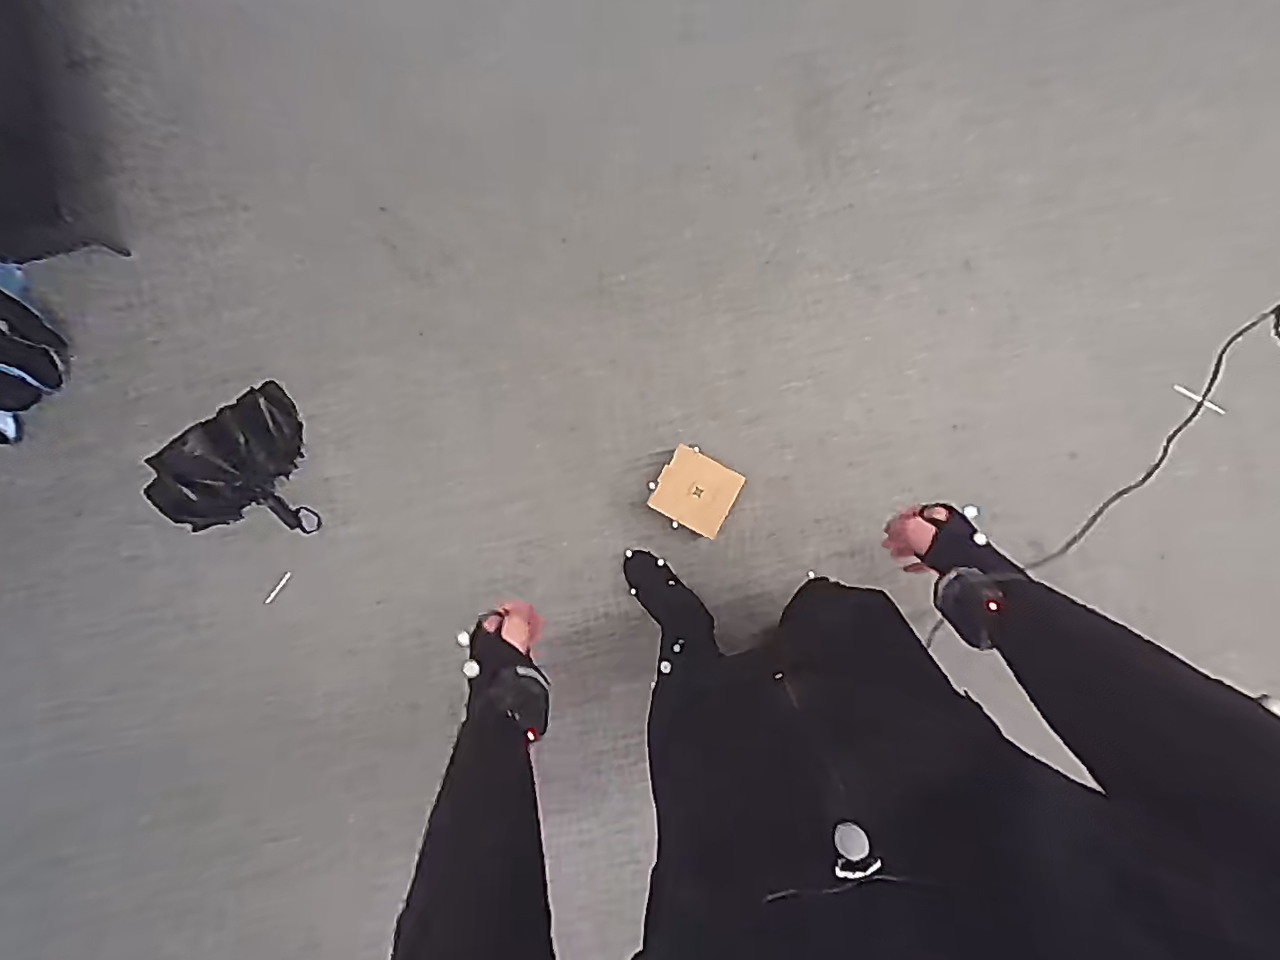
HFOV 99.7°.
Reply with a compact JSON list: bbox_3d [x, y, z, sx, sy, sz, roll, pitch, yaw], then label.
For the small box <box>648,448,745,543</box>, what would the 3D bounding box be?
[{"bbox_3d":[0.132,0.040,1.326,0.179,0.176,0.168,27,89,2],"label":"small box"}]
